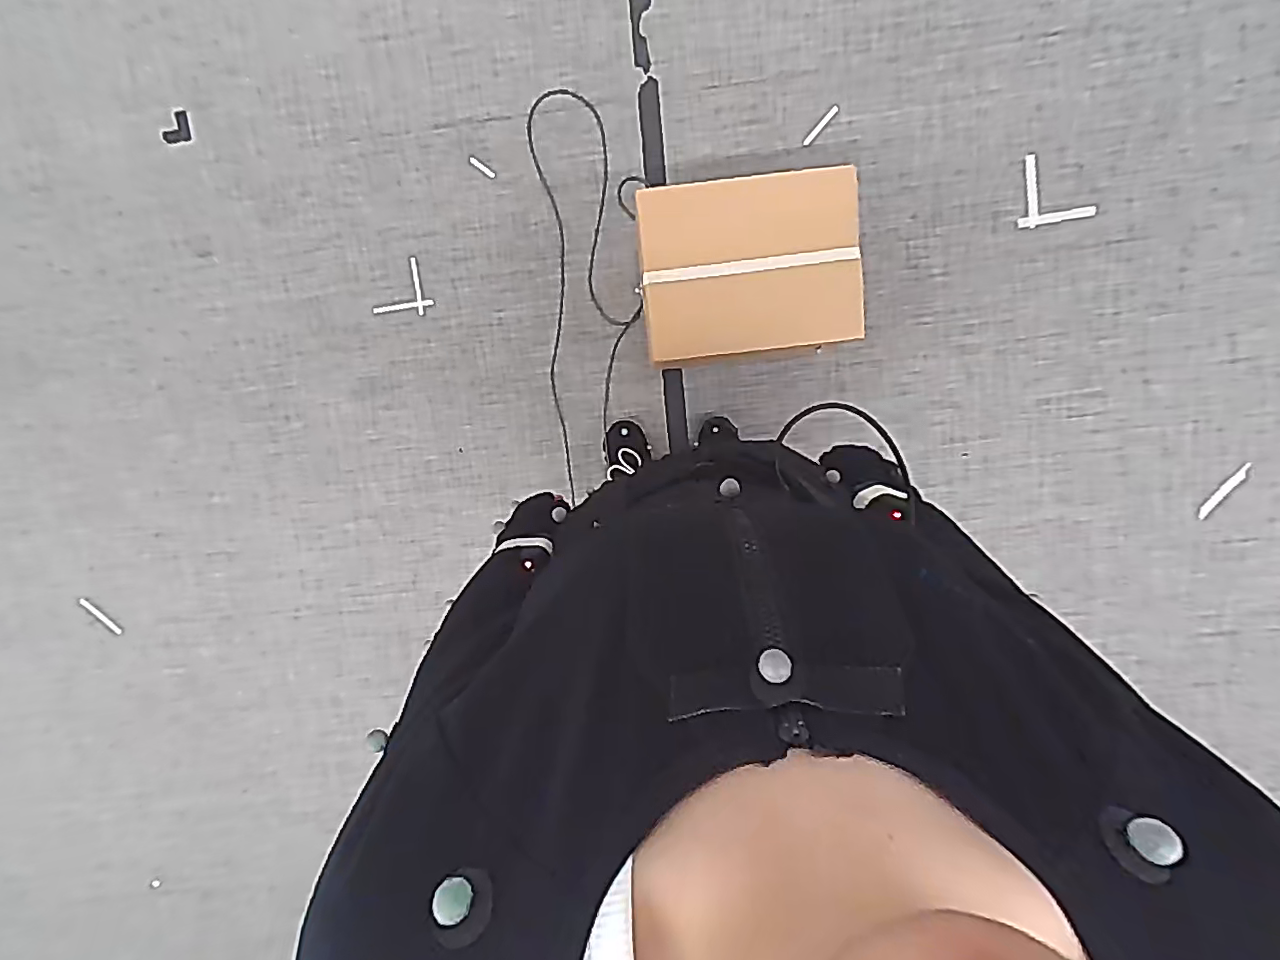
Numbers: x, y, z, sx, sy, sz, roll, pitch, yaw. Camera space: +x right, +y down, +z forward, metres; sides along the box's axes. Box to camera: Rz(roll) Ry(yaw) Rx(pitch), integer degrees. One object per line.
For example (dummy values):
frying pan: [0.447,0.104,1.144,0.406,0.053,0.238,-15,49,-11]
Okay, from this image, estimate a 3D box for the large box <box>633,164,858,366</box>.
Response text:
large box: [0.205,-0.428,1.159,0.408,0.320,0.320,-6,98,2]
